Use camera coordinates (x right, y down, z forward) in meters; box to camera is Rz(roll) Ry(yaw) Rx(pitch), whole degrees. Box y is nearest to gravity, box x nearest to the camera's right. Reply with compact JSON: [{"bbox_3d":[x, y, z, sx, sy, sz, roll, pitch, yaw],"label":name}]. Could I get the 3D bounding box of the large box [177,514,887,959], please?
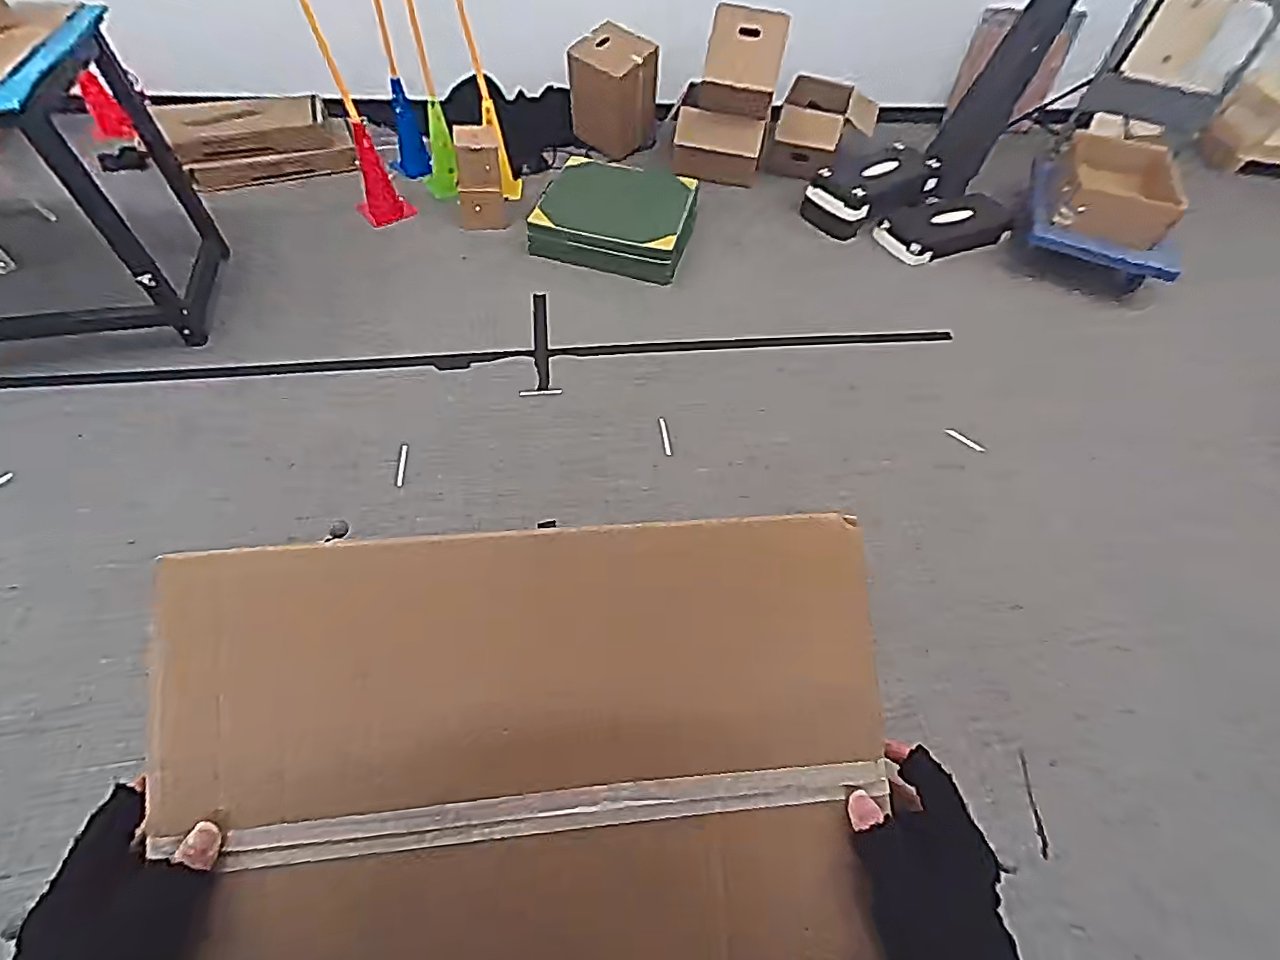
[{"bbox_3d":[-0.071,0.203,0.465,0.408,0.320,0.320,-3,85,-5],"label":"large box"}]
